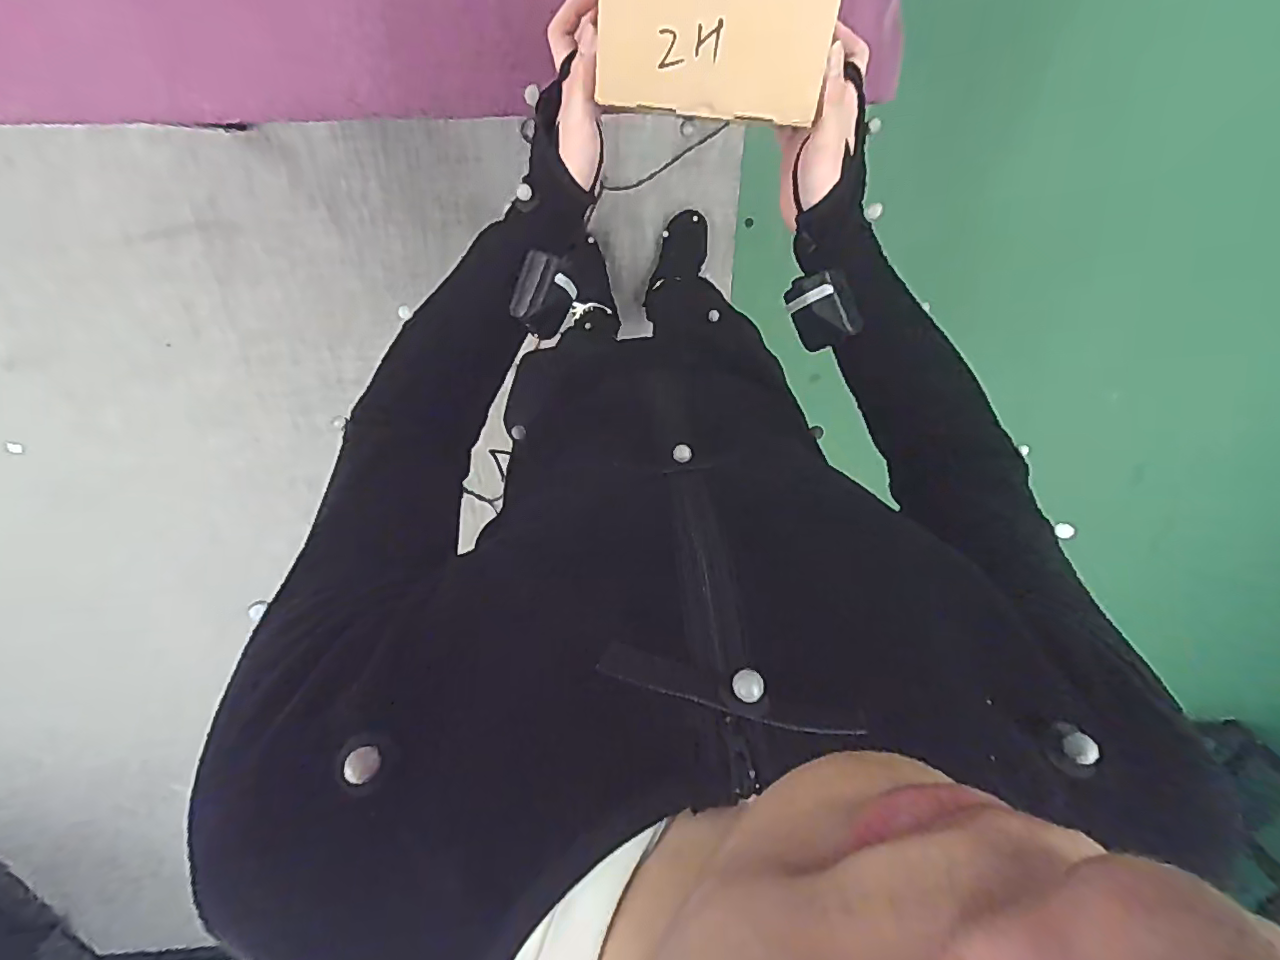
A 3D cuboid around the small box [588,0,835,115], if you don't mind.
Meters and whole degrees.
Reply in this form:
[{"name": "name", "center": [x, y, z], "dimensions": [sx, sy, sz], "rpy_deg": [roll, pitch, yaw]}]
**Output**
[{"name": "small box", "center": [0.051, -0.391, 0.409], "dimensions": [0.168, 0.176, 0.179], "rpy_deg": [5, 124, -3]}]
